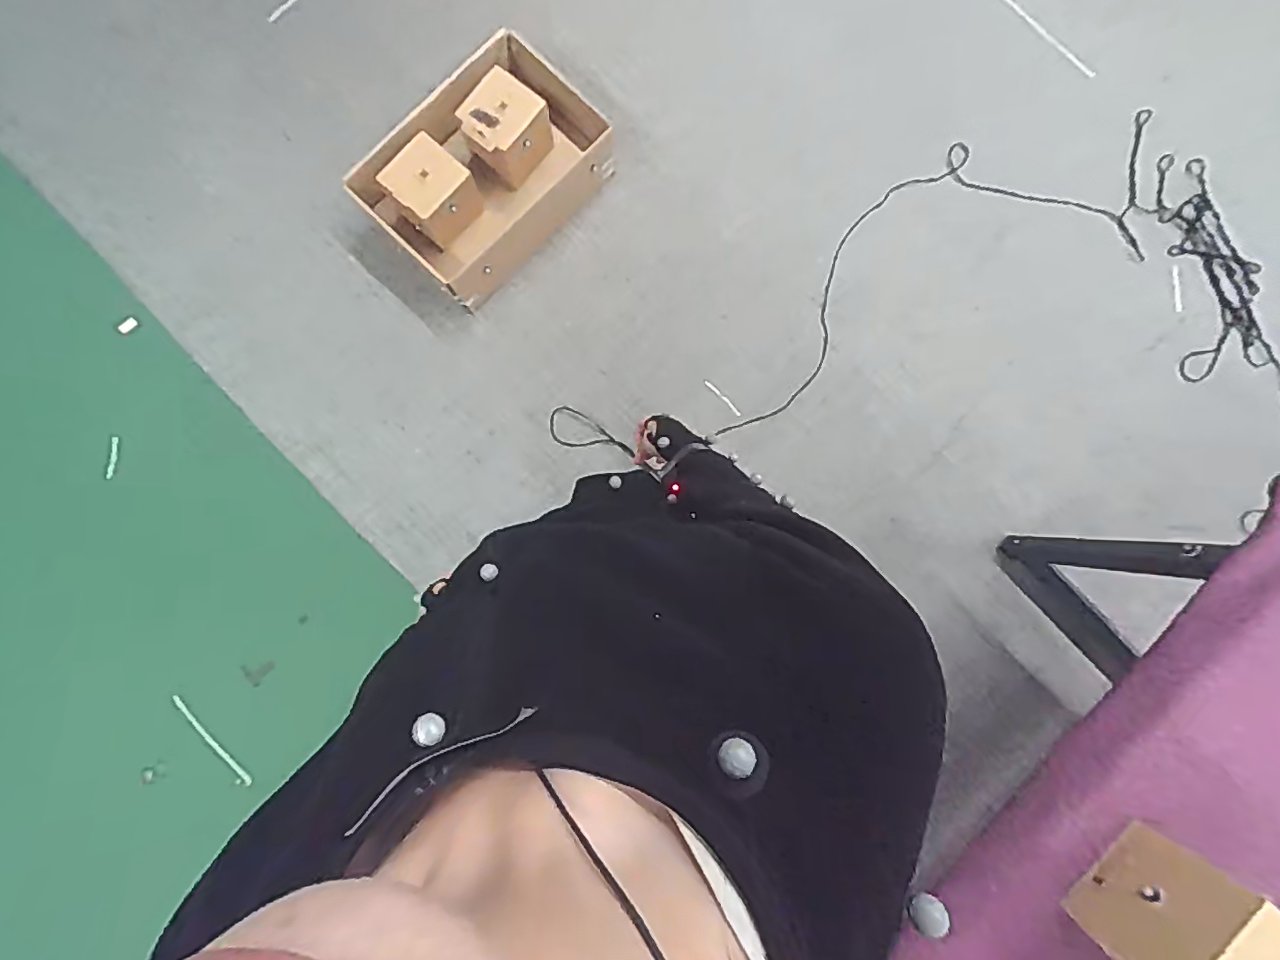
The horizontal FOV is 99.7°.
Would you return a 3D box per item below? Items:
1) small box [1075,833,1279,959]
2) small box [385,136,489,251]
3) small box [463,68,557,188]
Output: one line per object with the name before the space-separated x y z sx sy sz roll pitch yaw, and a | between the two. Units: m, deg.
small box | 0.720 0.594 0.683 0.168 0.176 0.179 -44 89 -3
small box | -0.532 -0.757 1.449 0.168 0.176 0.179 41 85 0
small box | -0.341 -0.942 1.465 0.168 0.176 0.179 37 87 1
